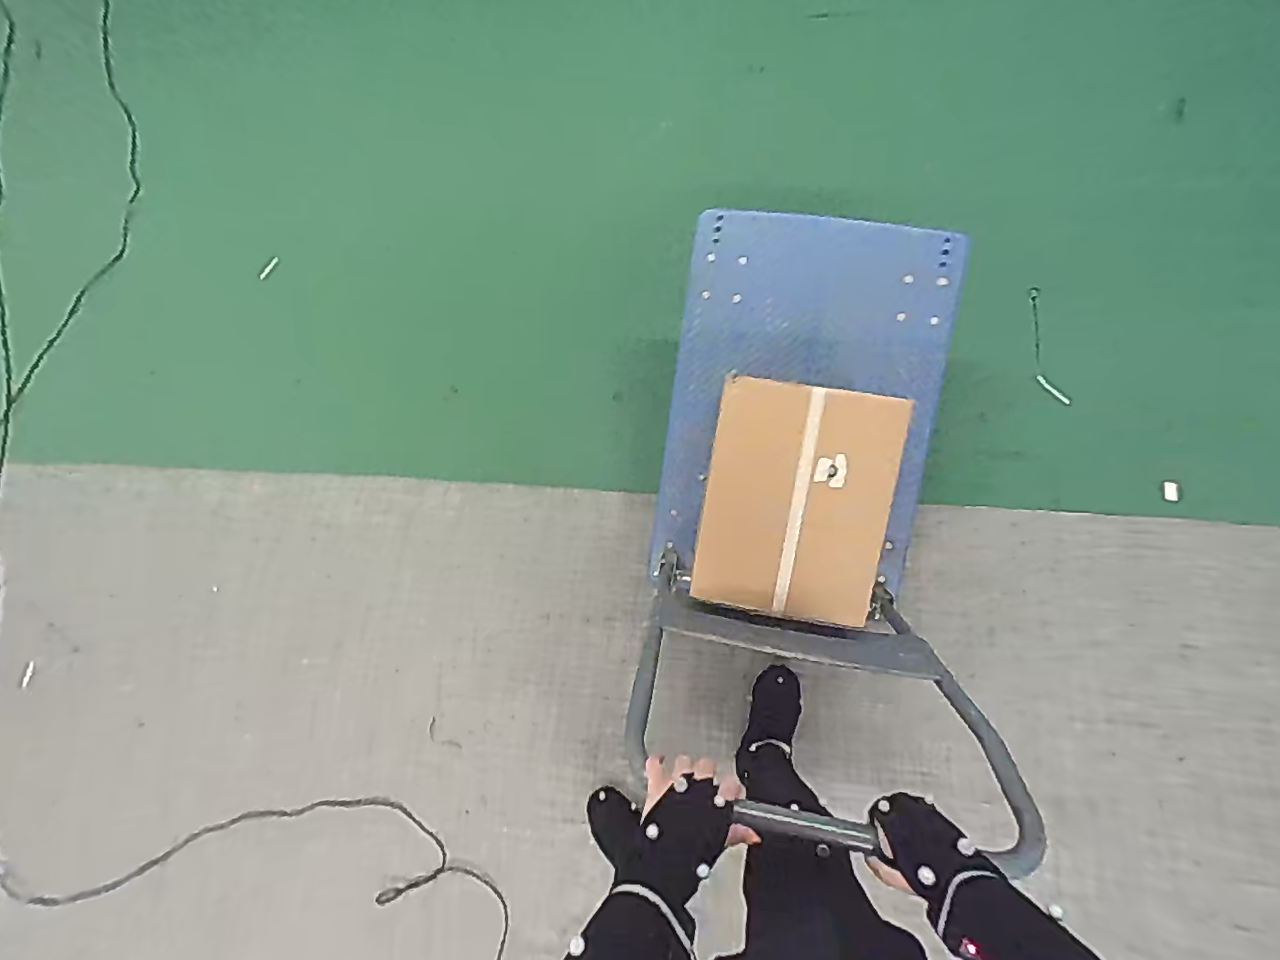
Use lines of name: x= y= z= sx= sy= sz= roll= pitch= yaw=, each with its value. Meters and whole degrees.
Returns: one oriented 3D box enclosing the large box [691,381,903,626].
large box: x=0.289 y=0.031 z=1.100 sx=0.320 sy=0.320 sz=0.408 roll=10 pitch=96 yaw=5
